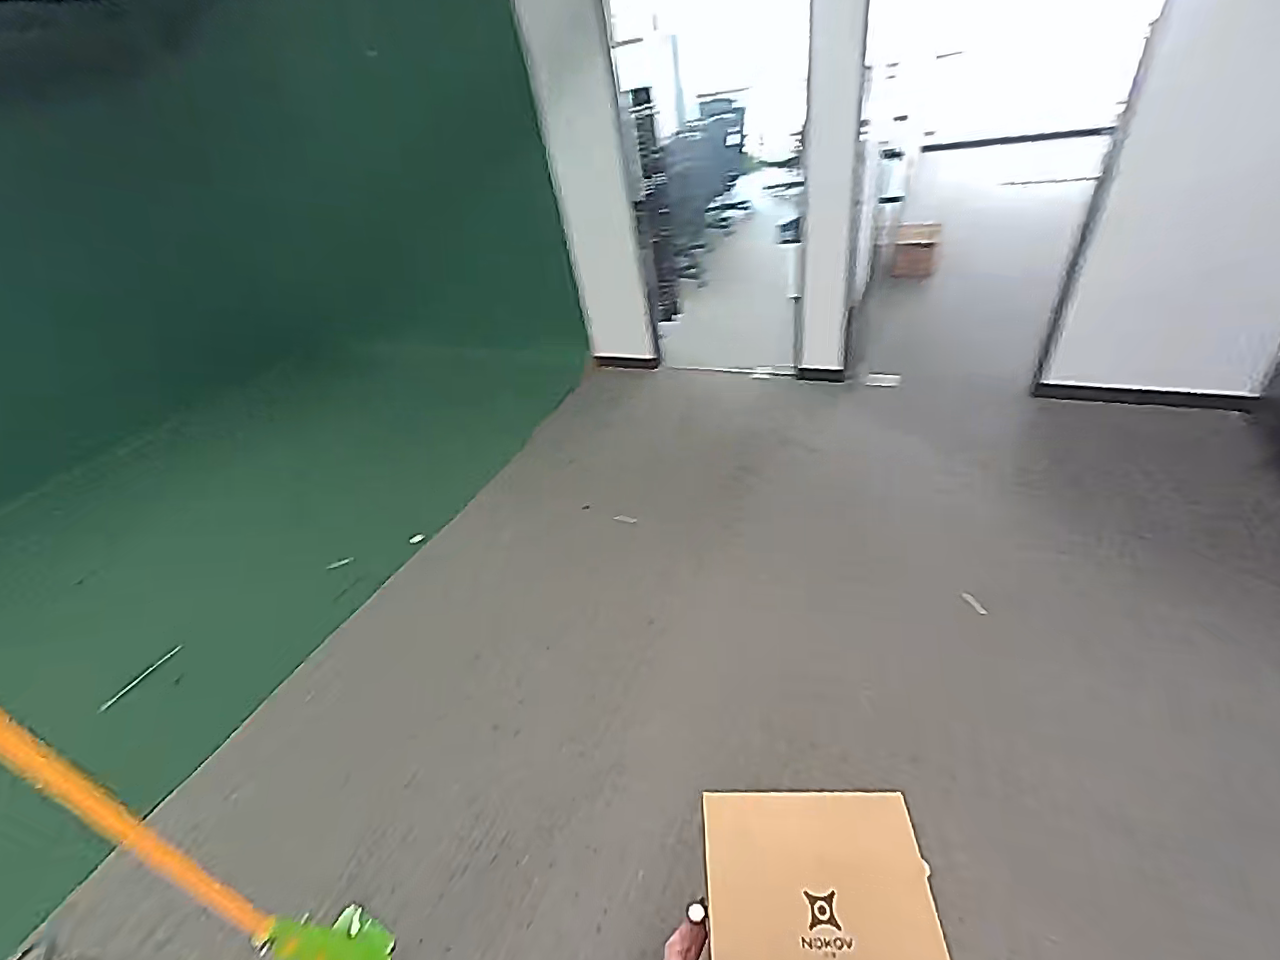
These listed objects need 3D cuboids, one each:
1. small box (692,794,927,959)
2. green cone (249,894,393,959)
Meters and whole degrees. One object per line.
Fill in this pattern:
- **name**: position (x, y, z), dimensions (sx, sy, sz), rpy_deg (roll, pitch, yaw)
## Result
- **small box**: position (0.129, 0.387, 0.457), dimensions (0.168, 0.176, 0.179), rpy_deg (-2, 45, 5)
- **green cone**: position (-0.781, 1.067, 1.261), dimensions (0.200, 0.368, 0.202), rpy_deg (12, 44, 27)
